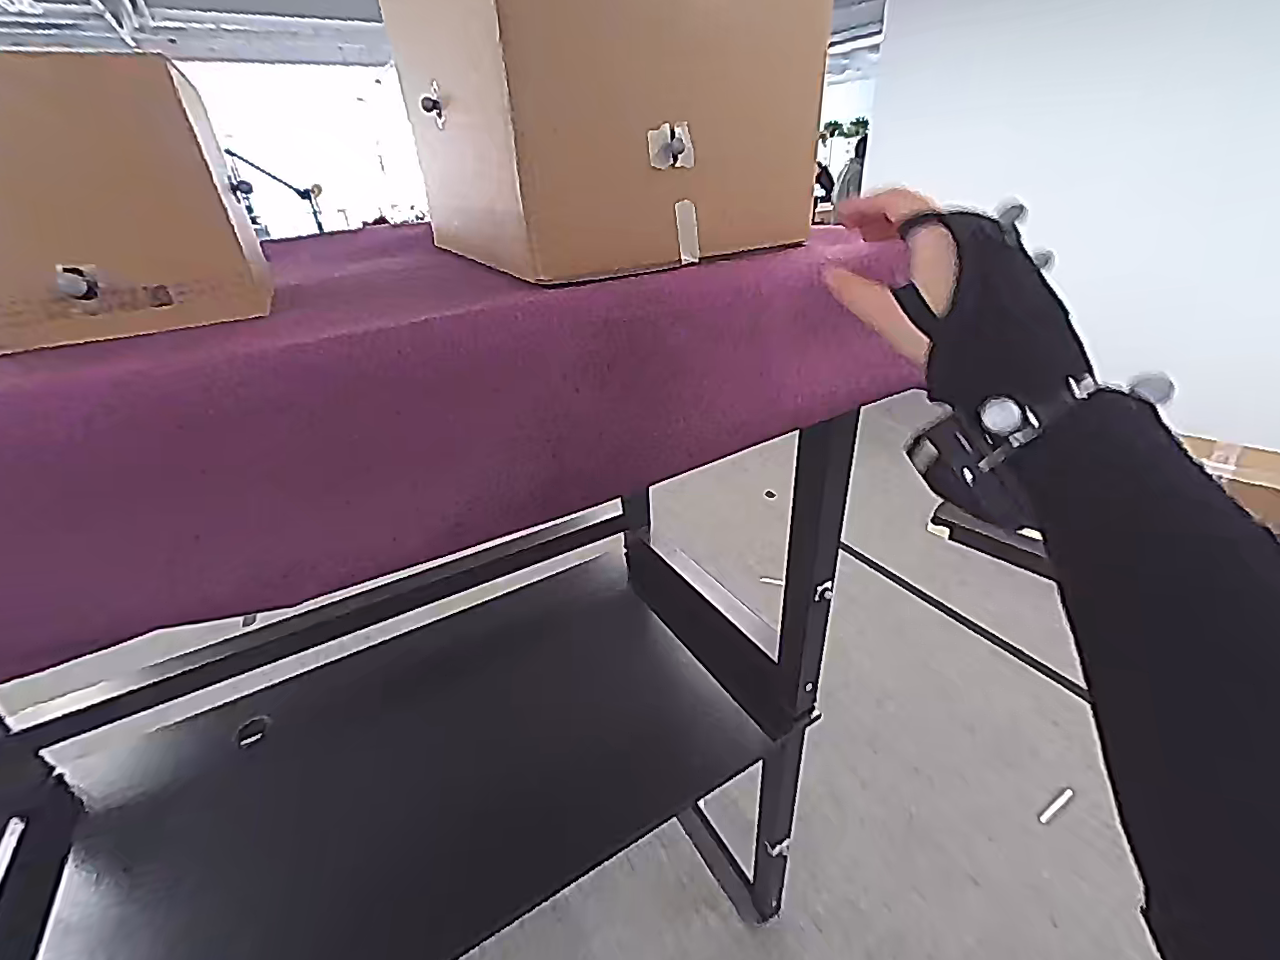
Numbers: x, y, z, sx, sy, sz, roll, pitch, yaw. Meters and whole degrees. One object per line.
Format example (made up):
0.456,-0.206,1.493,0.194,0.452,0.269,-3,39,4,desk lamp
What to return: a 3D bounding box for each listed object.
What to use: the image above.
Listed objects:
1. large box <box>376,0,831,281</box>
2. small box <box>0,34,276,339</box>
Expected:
-0.058,-0.411,0.575,0.320,0.320,0.408,-18,32,-25,large box
-0.403,-0.215,0.412,0.168,0.176,0.179,-19,34,-23,small box
